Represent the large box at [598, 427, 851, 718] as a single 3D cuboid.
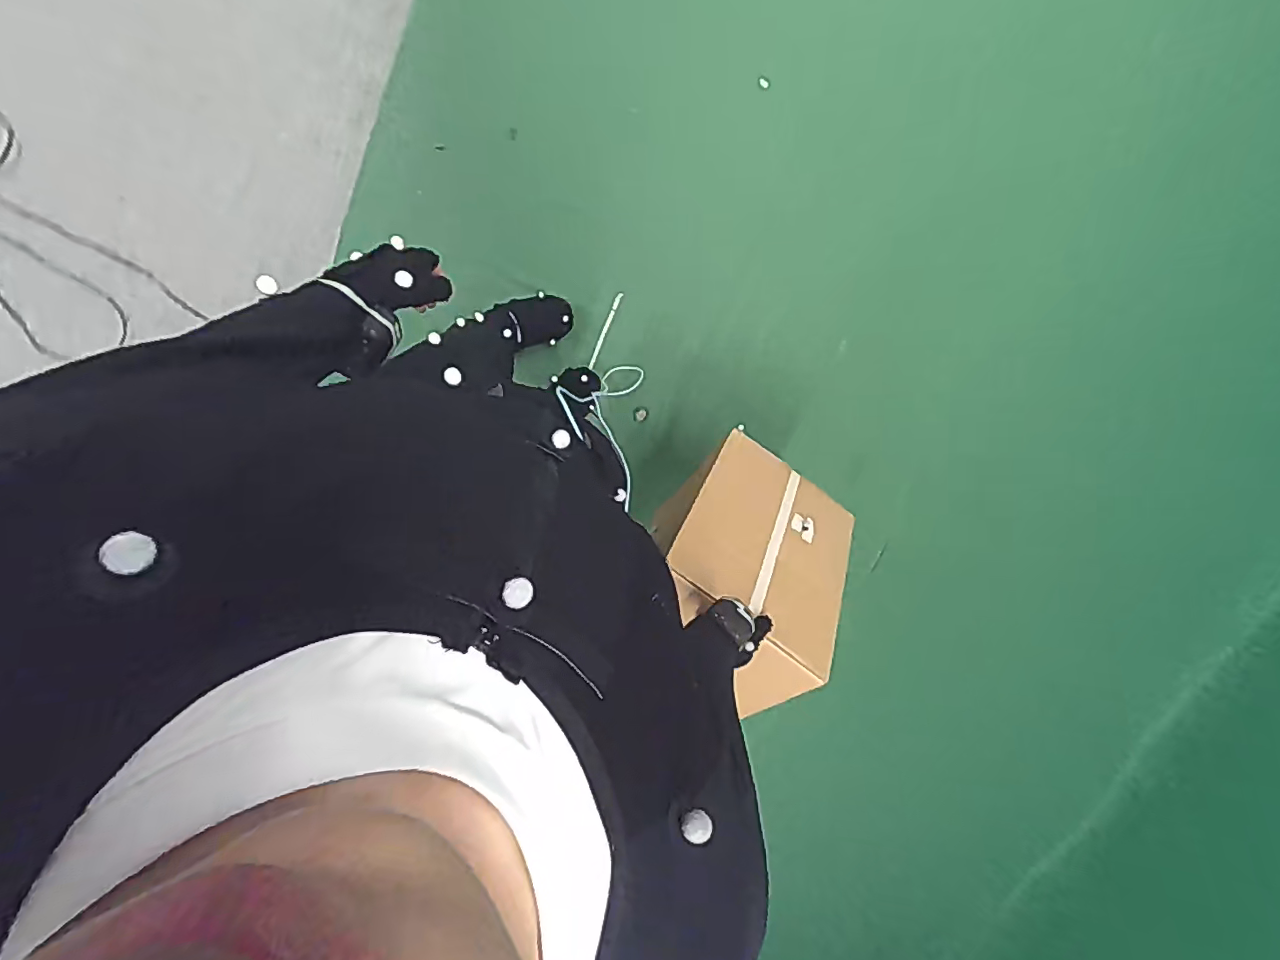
[{"bbox_3d":[0.174,0.178,1.070,0.320,0.408,0.320,37,134,-3],"label":"large box"}]
